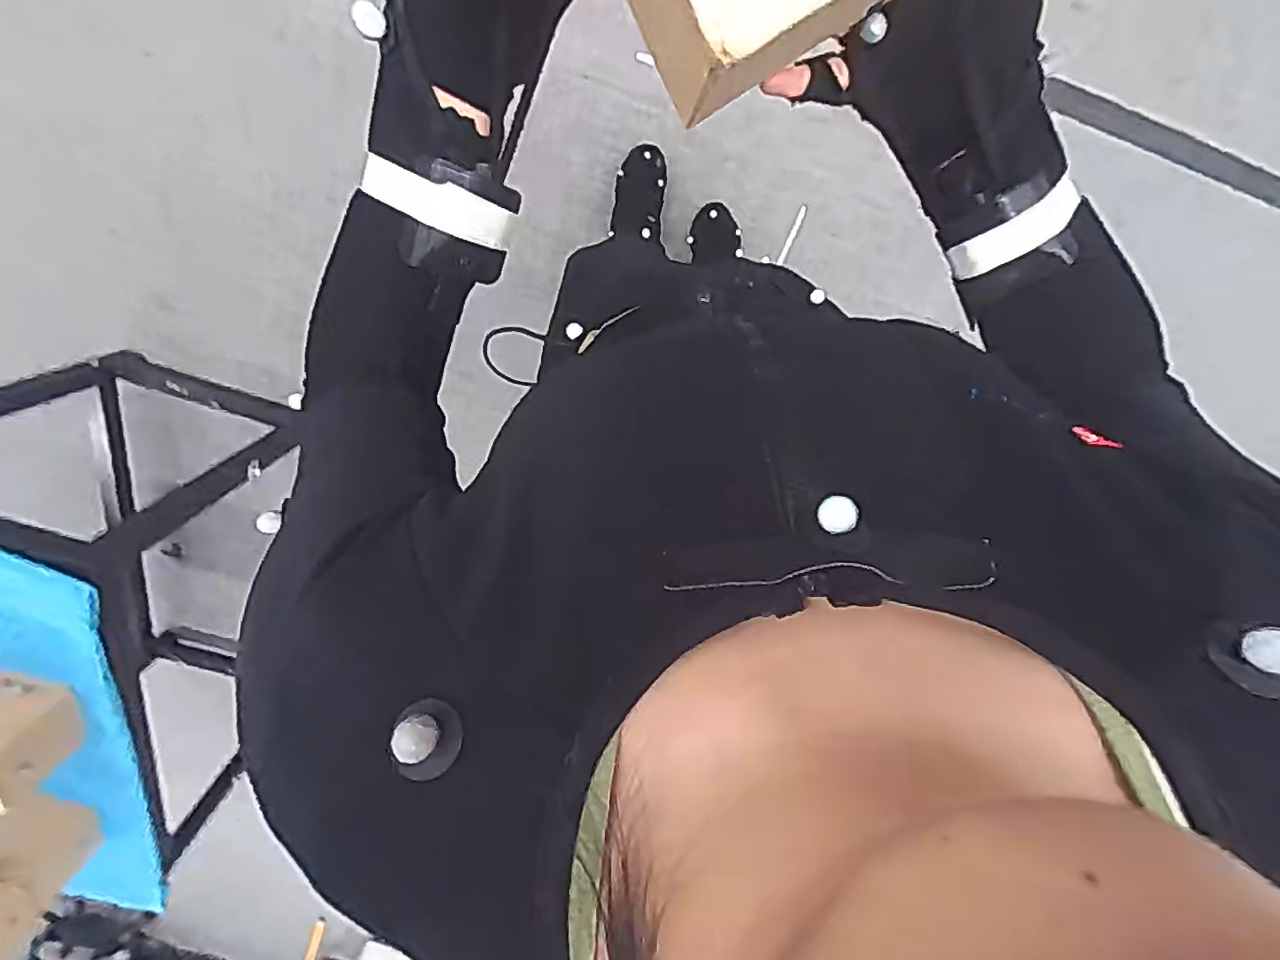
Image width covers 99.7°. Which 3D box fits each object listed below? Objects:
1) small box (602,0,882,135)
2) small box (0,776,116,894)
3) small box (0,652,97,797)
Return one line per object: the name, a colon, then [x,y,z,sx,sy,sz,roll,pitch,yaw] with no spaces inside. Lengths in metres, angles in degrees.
small box: [0.045,-0.258,0.184,0.168,0.176,0.179,-25,115,13]
small box: [-1.402,0.831,1.270,0.179,0.176,0.168,19,120,-8]
small box: [-1.227,0.474,1.059,0.168,0.176,0.179,18,119,-5]
